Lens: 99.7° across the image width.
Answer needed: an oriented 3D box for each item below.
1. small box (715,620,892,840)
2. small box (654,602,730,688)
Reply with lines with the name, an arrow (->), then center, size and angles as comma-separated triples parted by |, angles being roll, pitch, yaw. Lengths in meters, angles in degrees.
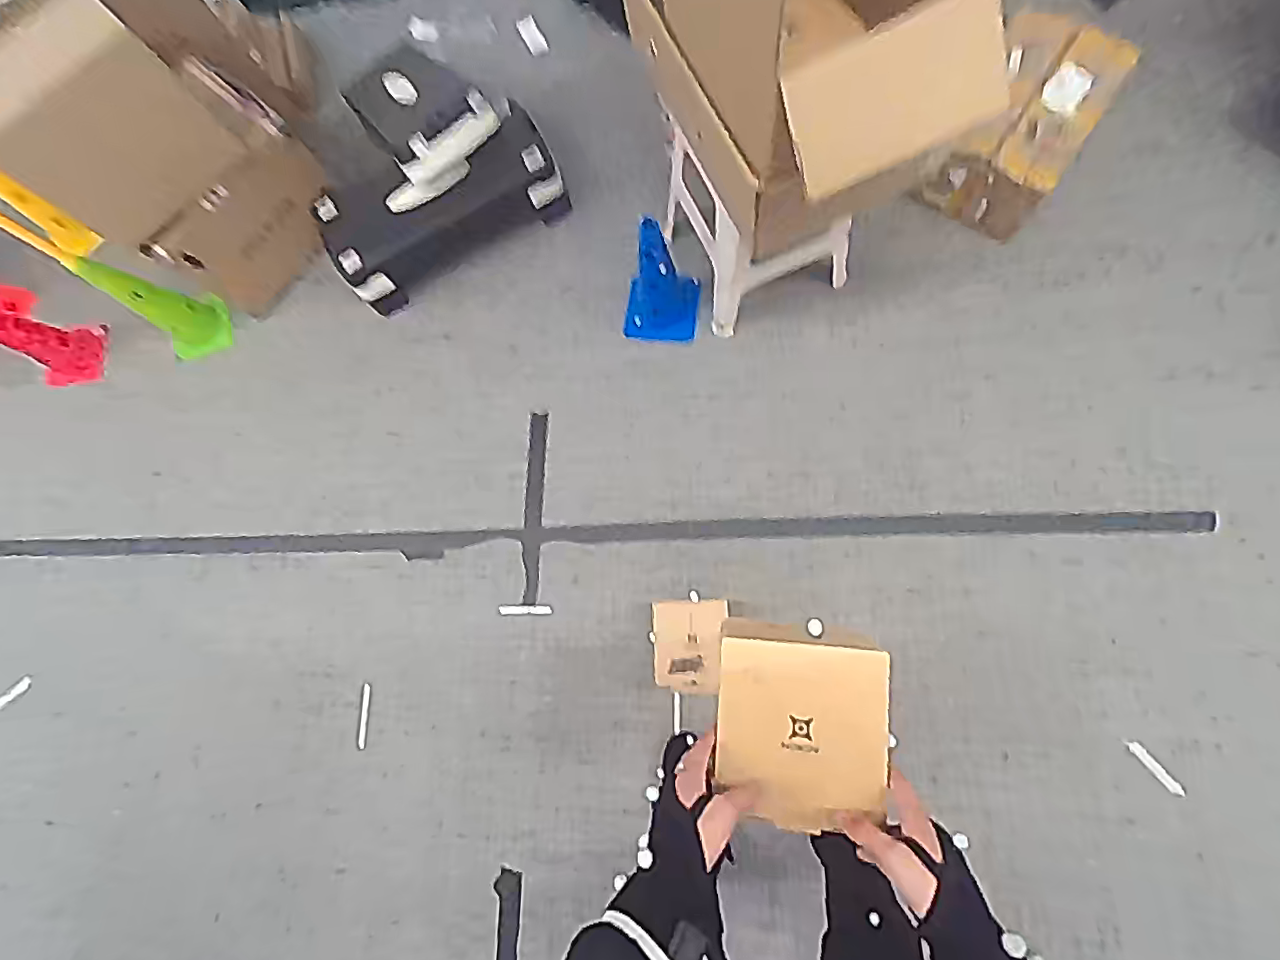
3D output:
small box -> 0.171, 0.258, 0.607 | 0.168, 0.176, 0.179 | 2, 84, 10
small box -> 0.125, 0.373, 1.241 | 0.168, 0.176, 0.179 | -3, 76, 7
